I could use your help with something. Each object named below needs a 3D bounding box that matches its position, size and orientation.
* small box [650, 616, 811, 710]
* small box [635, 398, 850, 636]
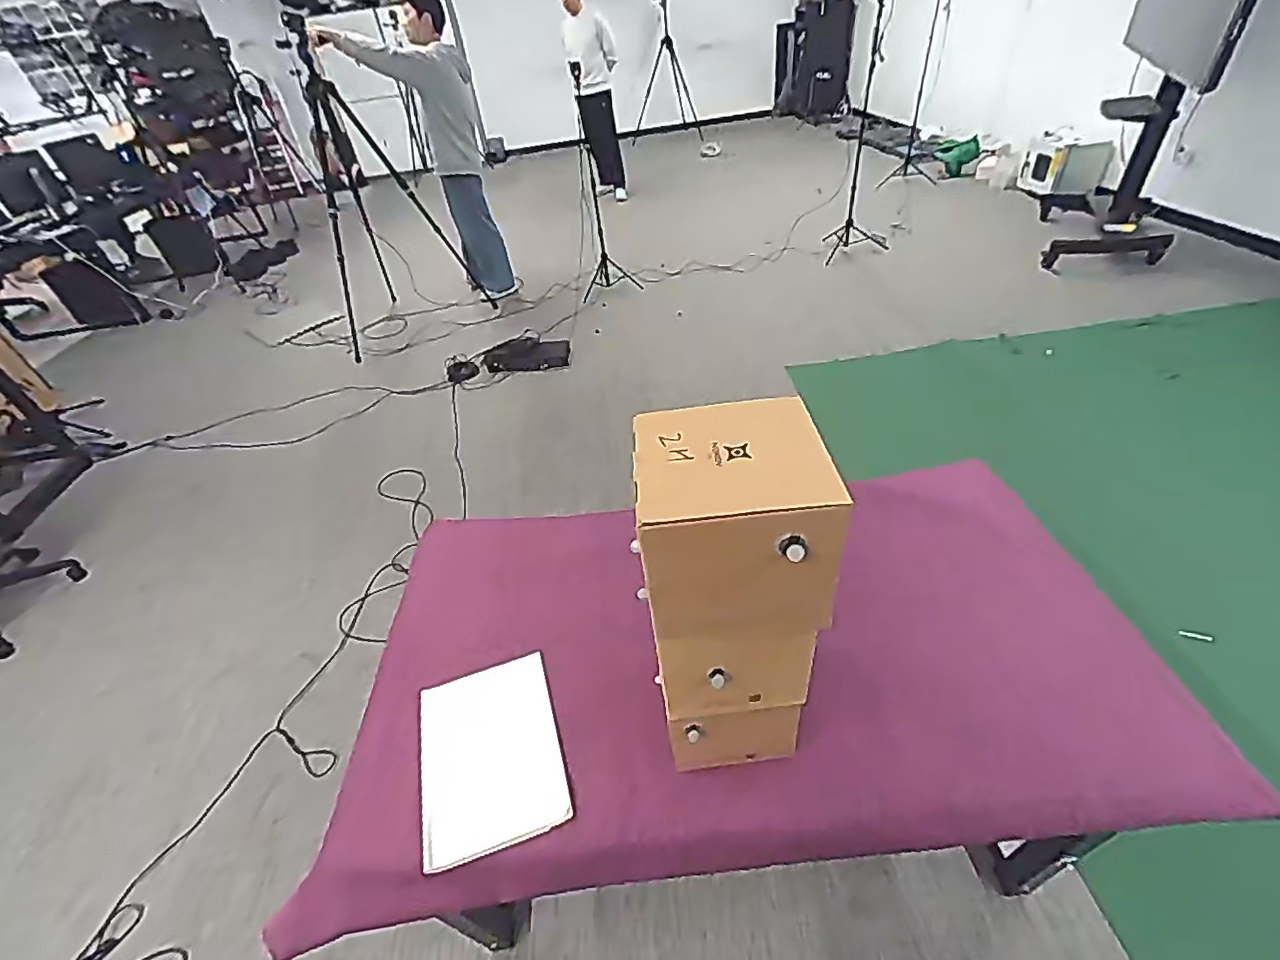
[{"bbox_3d":[0.099,0.160,0.657,0.168,0.176,0.179,-7,39,1],"label":"small box"},{"bbox_3d":[0.090,0.038,0.546,0.179,0.176,0.168,-6,39,3],"label":"small box"}]
